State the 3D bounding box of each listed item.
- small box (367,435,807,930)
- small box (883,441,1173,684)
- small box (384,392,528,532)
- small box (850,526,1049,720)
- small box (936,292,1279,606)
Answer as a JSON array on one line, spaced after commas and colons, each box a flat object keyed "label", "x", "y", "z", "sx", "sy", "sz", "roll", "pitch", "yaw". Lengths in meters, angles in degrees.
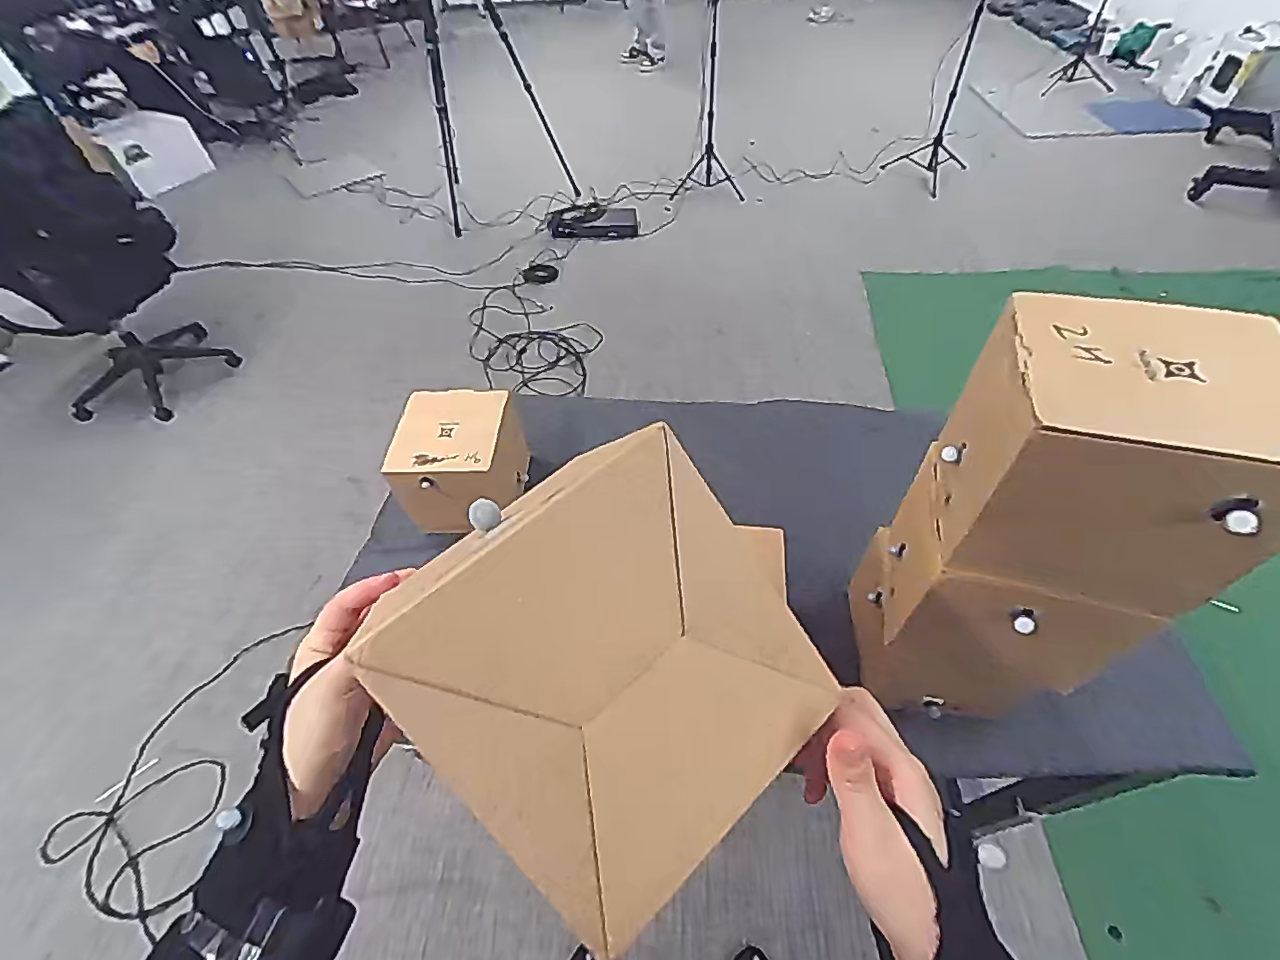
[{"label": "small box", "x": -0.033, "y": 0.093, "z": 0.317, "sx": 0.168, "sy": 0.176, "sz": 0.179, "roll": -38, "pitch": 101, "yaw": -18}, {"label": "small box", "x": 0.364, "y": 0.087, "z": 0.550, "sx": 0.179, "sy": 0.176, "sz": 0.168, "roll": 10, "pitch": 51, "yaw": 14}, {"label": "small box", "x": -0.293, "y": -0.029, "z": 0.907, "sx": 0.168, "sy": 0.176, "sz": 0.179, "roll": 0, "pitch": 51, "yaw": 3}, {"label": "small box", "x": 0.376, "y": 0.180, "z": 0.683, "sx": 0.168, "sy": 0.176, "sz": 0.179, "roll": 2, "pitch": 50, "yaw": 8}, {"label": "small box", "x": 0.357, "y": -0.022, "z": 0.426, "sx": 0.179, "sy": 0.176, "sz": 0.168, "roll": 12, "pitch": 51, "yaw": 16}]
